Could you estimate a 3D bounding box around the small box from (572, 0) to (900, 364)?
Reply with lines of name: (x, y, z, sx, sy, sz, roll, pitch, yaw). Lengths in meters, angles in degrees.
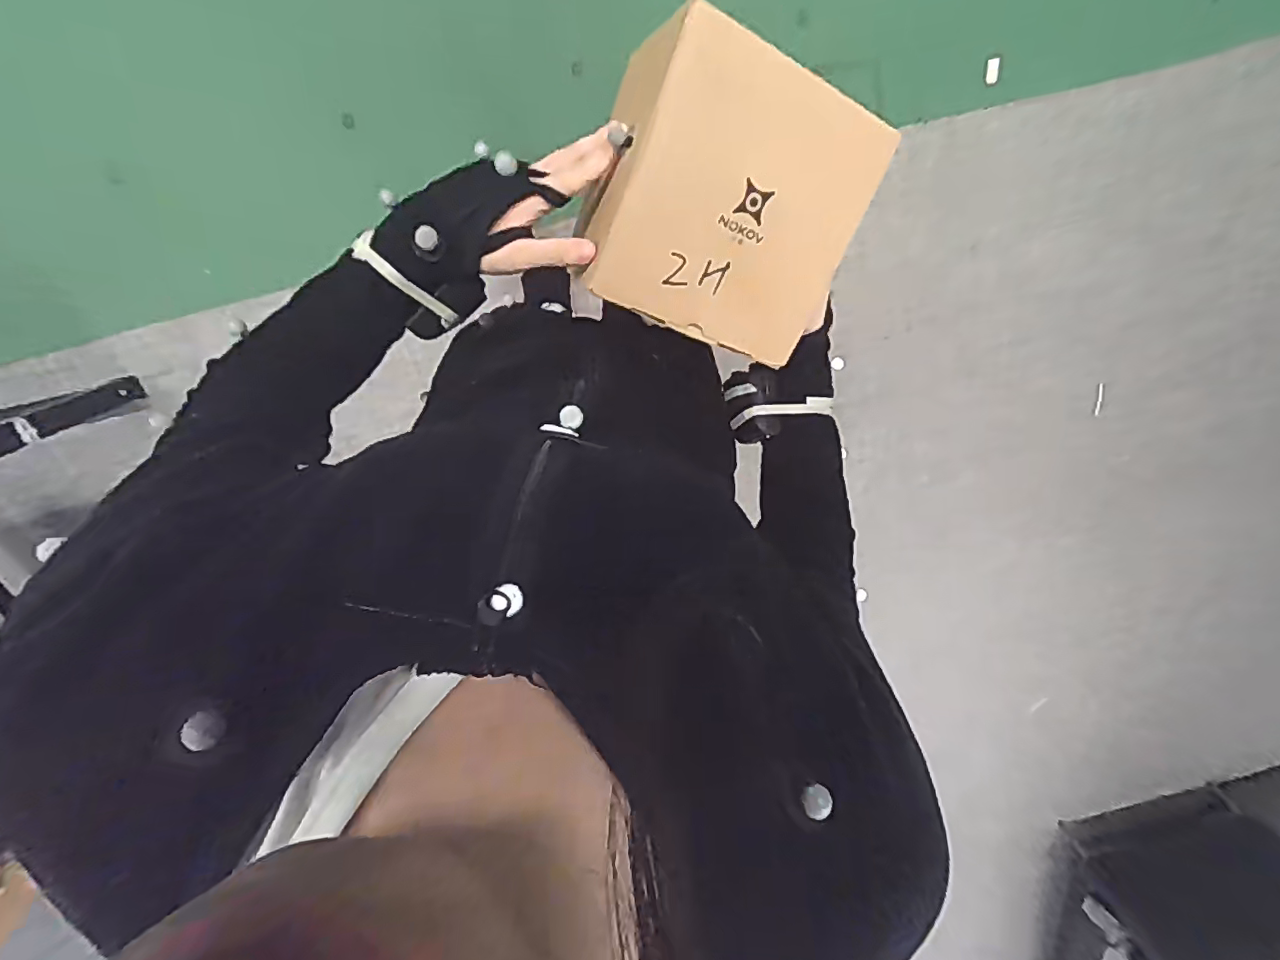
small box: (0.054, -0.220, 0.432, 0.168, 0.176, 0.179, 16, 112, -22)

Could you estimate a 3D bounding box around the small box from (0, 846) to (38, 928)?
small box: (-1.137, 0.690, 0.841, 0.179, 0.176, 0.168, -15, 117, -2)
